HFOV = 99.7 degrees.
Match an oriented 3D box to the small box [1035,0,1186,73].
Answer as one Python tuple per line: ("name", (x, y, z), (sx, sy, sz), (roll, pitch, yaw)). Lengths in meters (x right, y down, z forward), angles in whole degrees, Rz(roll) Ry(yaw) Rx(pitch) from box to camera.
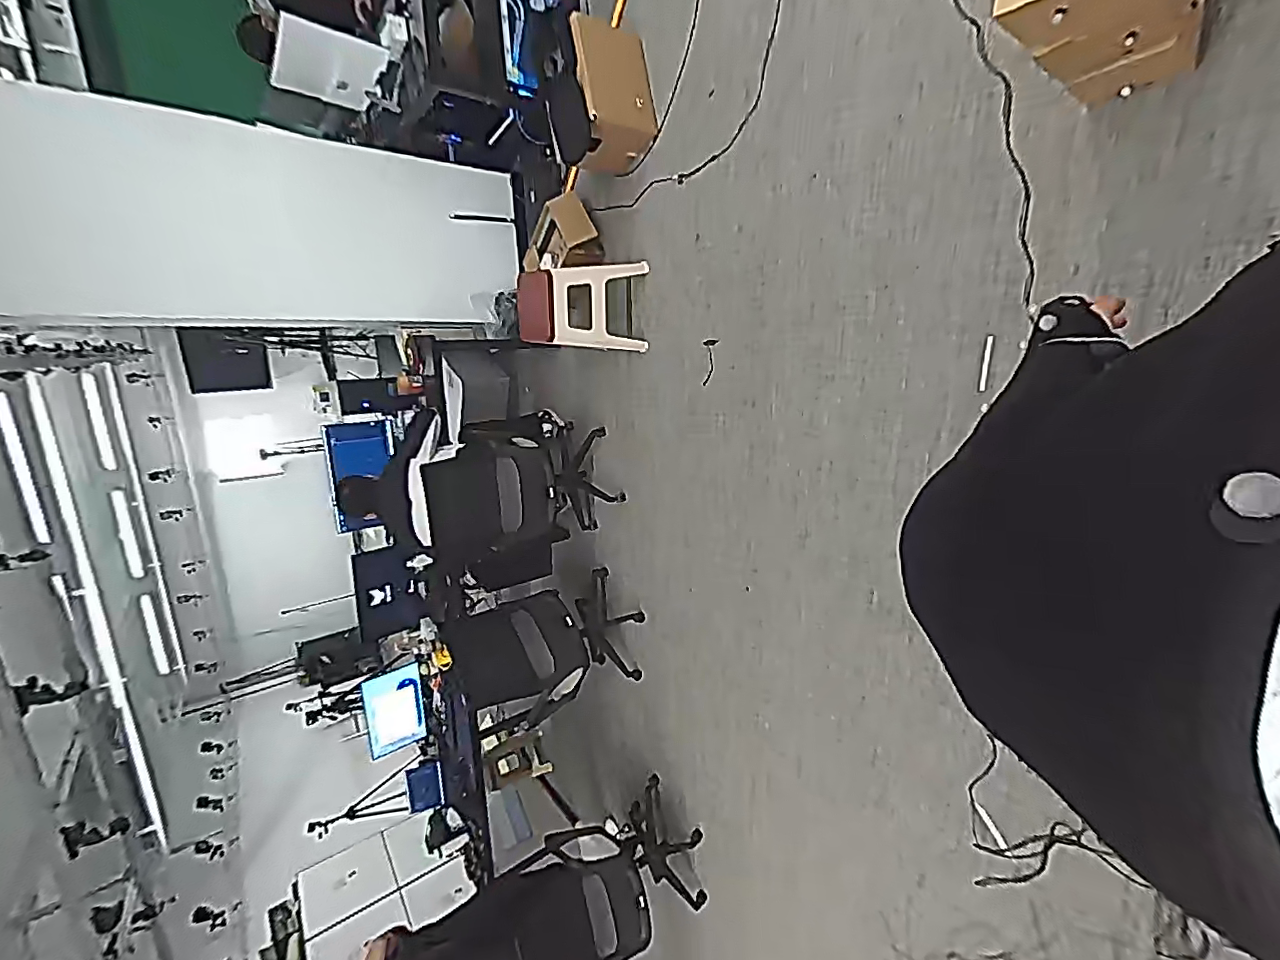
("small box", (0.797, -0.830, 0.913), (0.168, 0.176, 0.179), (8, 104, 53))

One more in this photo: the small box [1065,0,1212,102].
("small box", (0.929, -0.848, 1.006), (0.168, 0.176, 0.179), (14, 110, 52))

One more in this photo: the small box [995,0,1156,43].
("small box", (0.675, -0.801, 0.808), (0.179, 0.176, 0.168), (19, 114, 51))
